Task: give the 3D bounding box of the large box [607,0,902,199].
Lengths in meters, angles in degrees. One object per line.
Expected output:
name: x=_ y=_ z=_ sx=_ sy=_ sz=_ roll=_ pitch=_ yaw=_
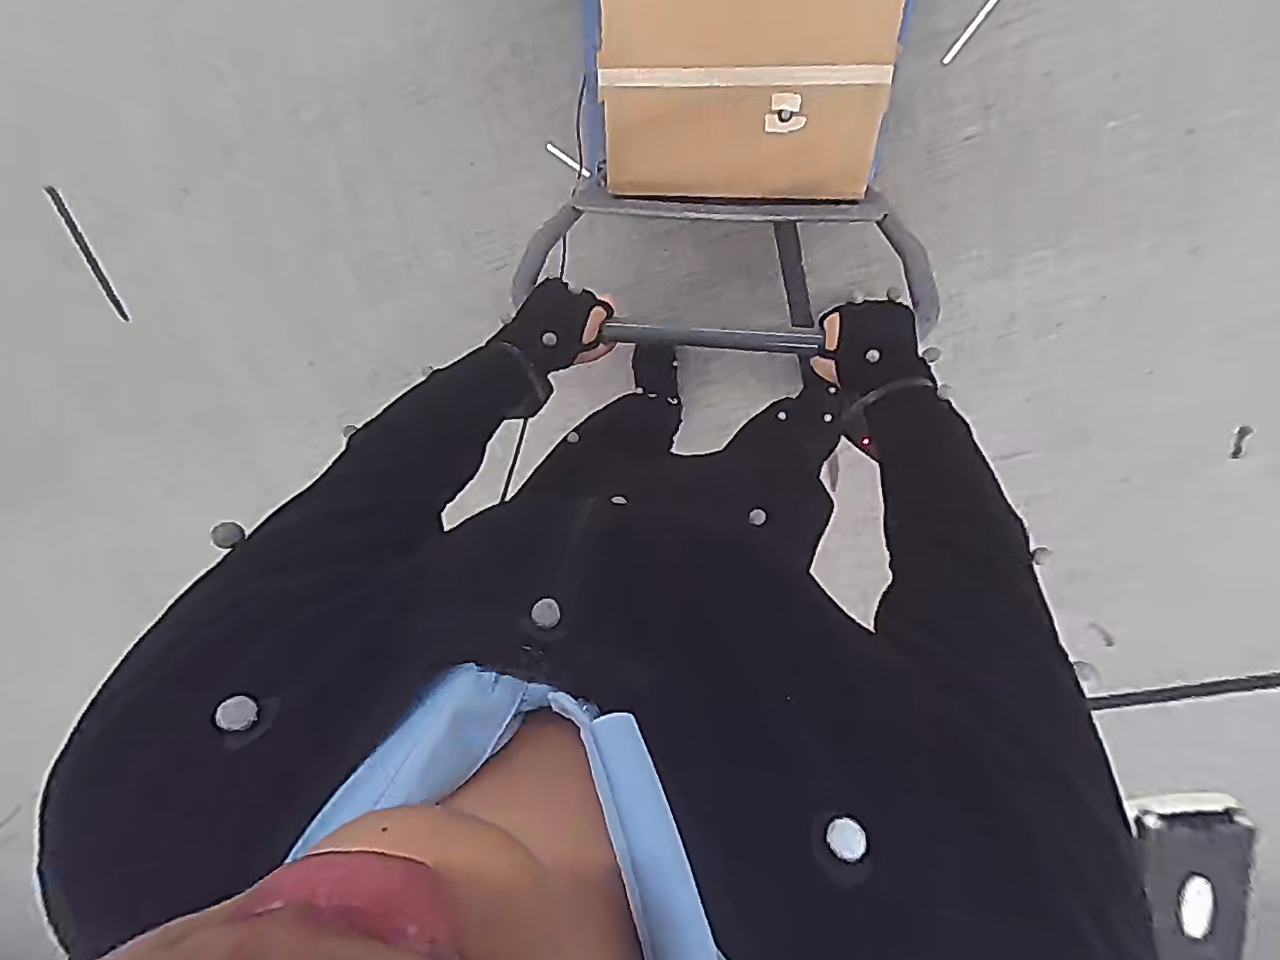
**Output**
large box: x=0.171 y=-0.667 z=0.906 sx=0.408 sy=0.320 sz=0.320 roll=5 pitch=126 yaw=7
